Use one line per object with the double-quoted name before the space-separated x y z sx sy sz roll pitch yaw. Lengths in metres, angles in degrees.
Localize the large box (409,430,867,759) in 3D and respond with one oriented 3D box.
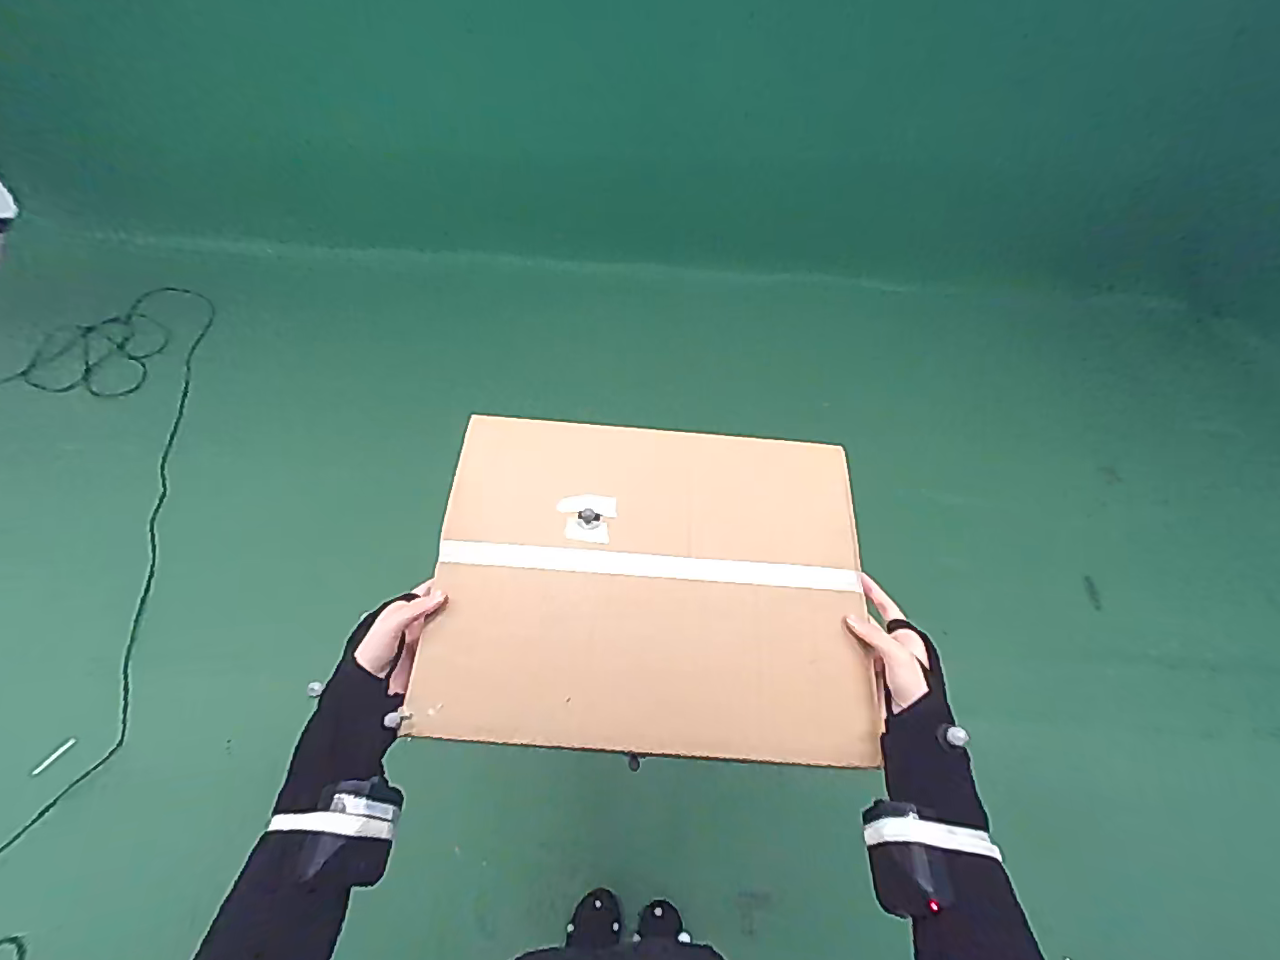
"large box" 0.002 0.157 0.662 0.408 0.320 0.320 4 63 -1
